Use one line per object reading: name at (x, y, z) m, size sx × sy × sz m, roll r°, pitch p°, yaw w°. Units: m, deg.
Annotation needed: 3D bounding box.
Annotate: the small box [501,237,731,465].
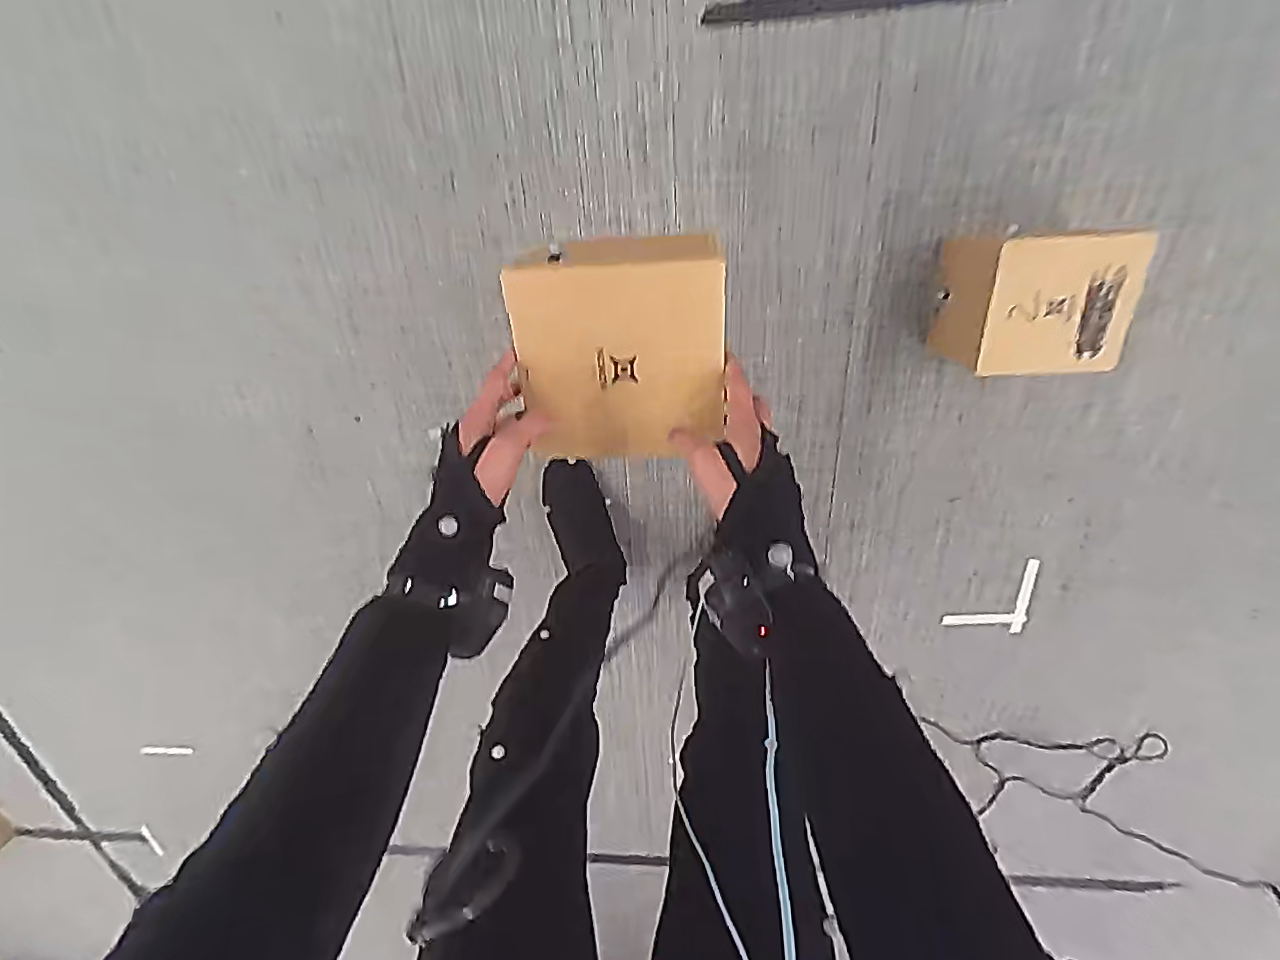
small box at (-0.008, -0.126, 0.507) m, size 0.179 × 0.176 × 0.168 m, roll 0°, pitch 121°, yaw 7°
